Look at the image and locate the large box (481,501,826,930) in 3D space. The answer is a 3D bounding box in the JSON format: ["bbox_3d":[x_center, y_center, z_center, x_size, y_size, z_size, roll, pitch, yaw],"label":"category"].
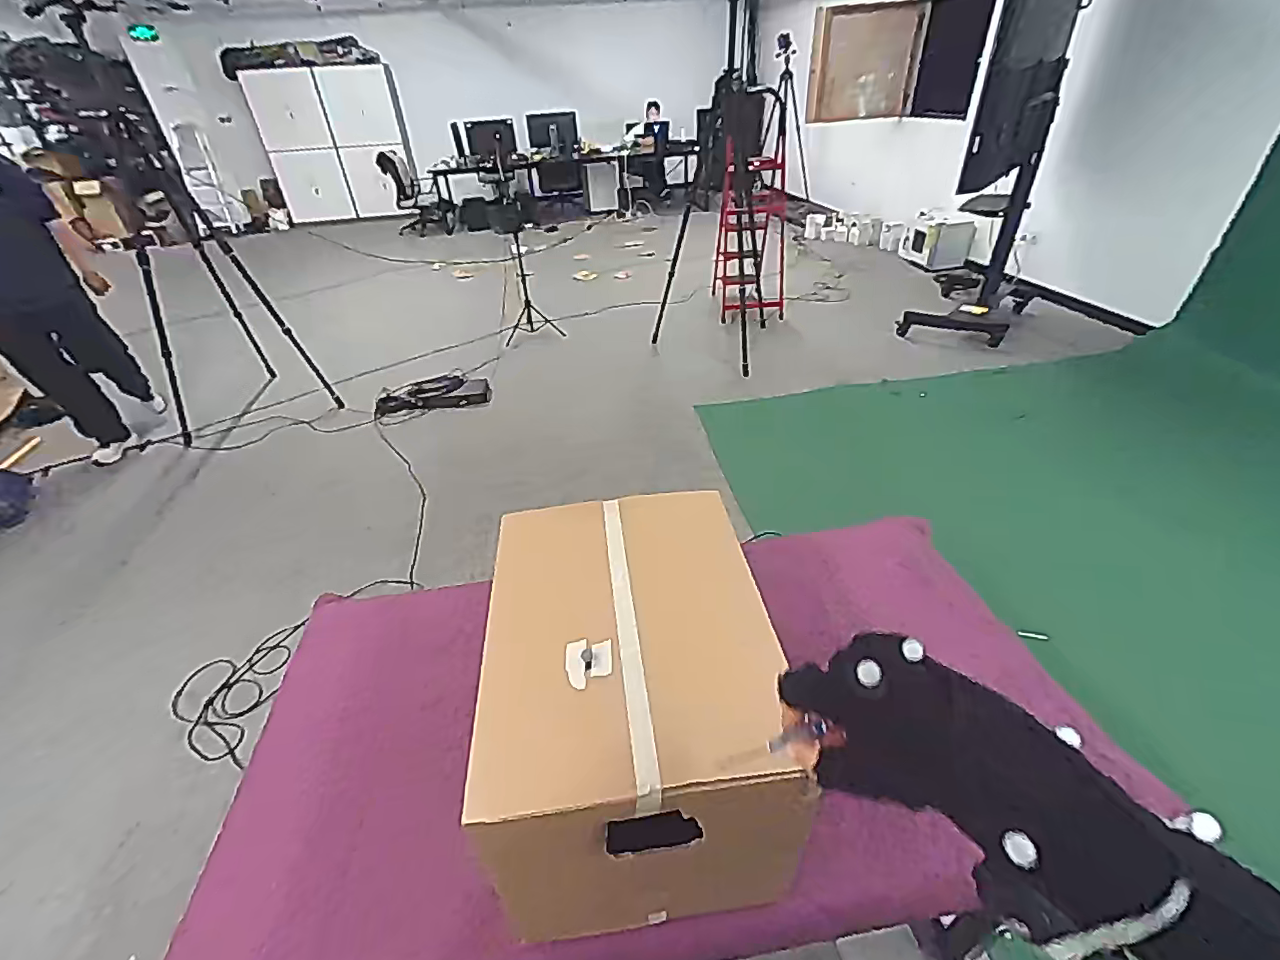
[{"bbox_3d":[-0.006,0.278,0.713,0.320,0.320,0.408,-6,36,-4],"label":"large box"}]
